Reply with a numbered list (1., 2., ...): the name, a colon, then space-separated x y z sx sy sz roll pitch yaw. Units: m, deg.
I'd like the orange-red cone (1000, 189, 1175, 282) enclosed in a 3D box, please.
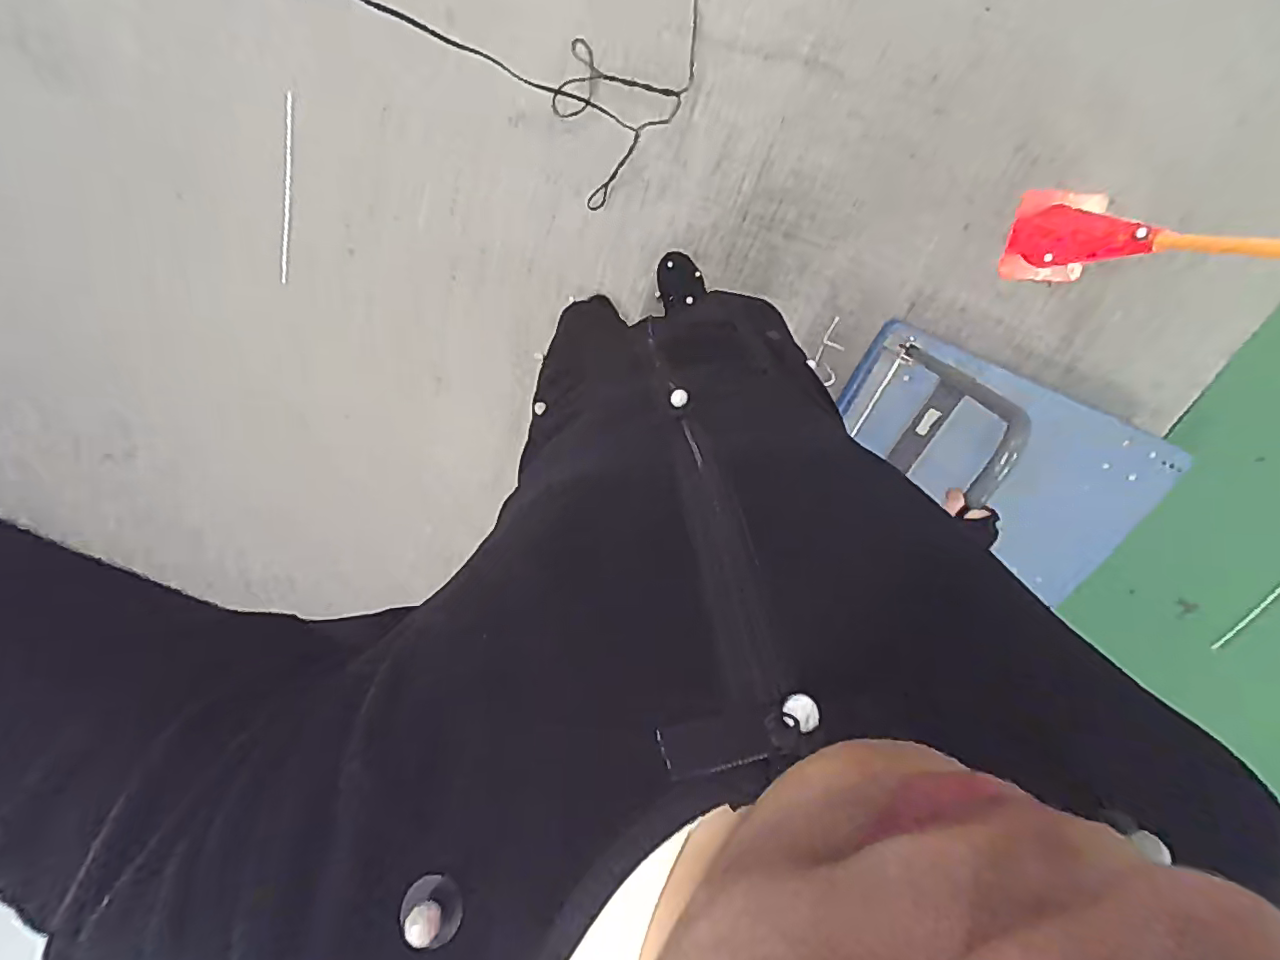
1. orange-red cone: 0.997 -0.528 1.172 0.198 0.360 0.199 6 114 2
